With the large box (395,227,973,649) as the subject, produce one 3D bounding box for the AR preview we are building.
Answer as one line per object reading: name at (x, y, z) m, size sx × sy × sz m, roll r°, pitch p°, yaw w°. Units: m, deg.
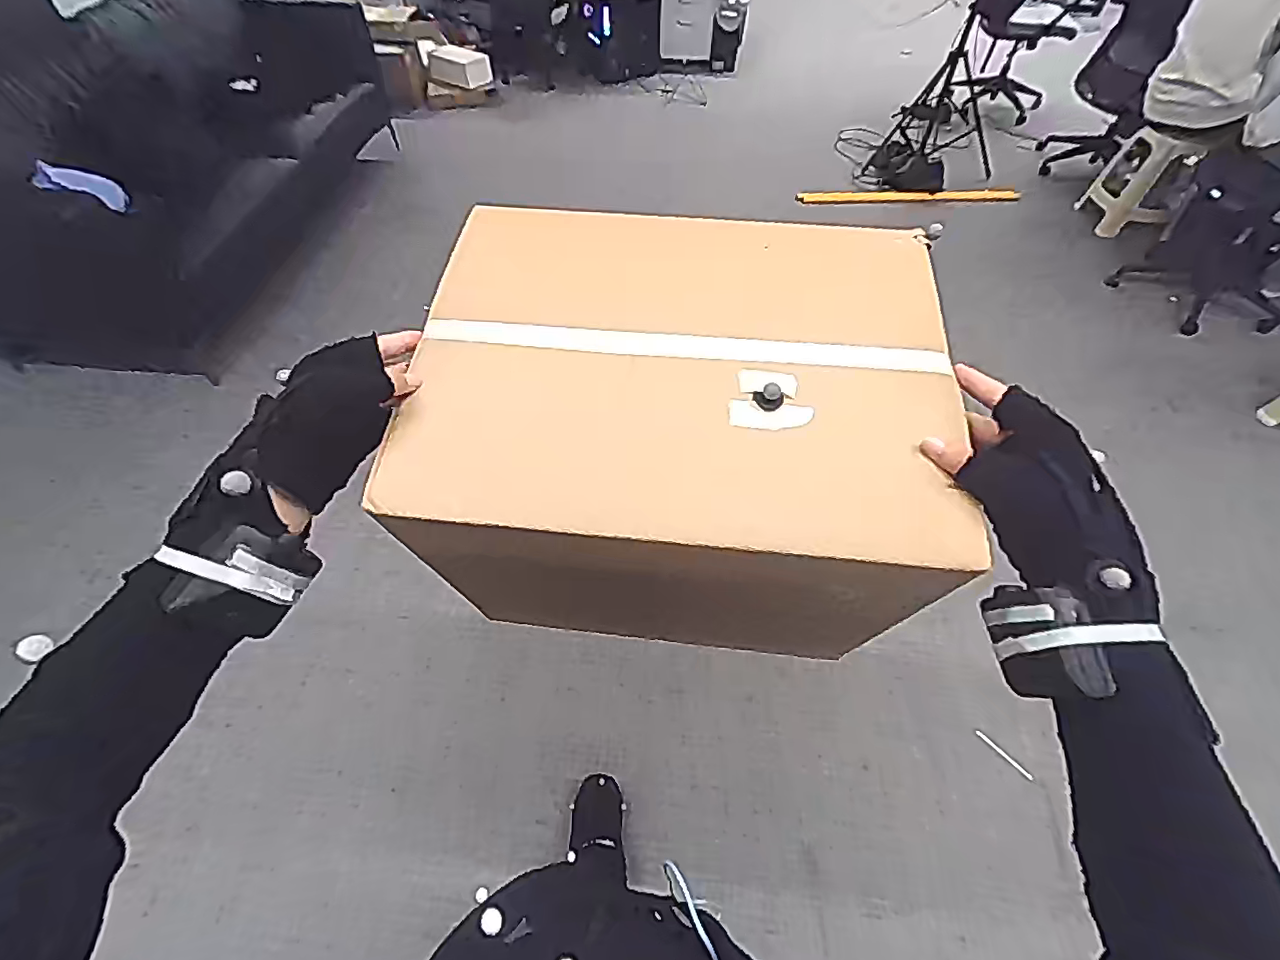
large box at (0.037, -0.024, 0.566) m, size 0.408 × 0.320 × 0.320 m, roll 5°, pitch 62°, yaw 3°
